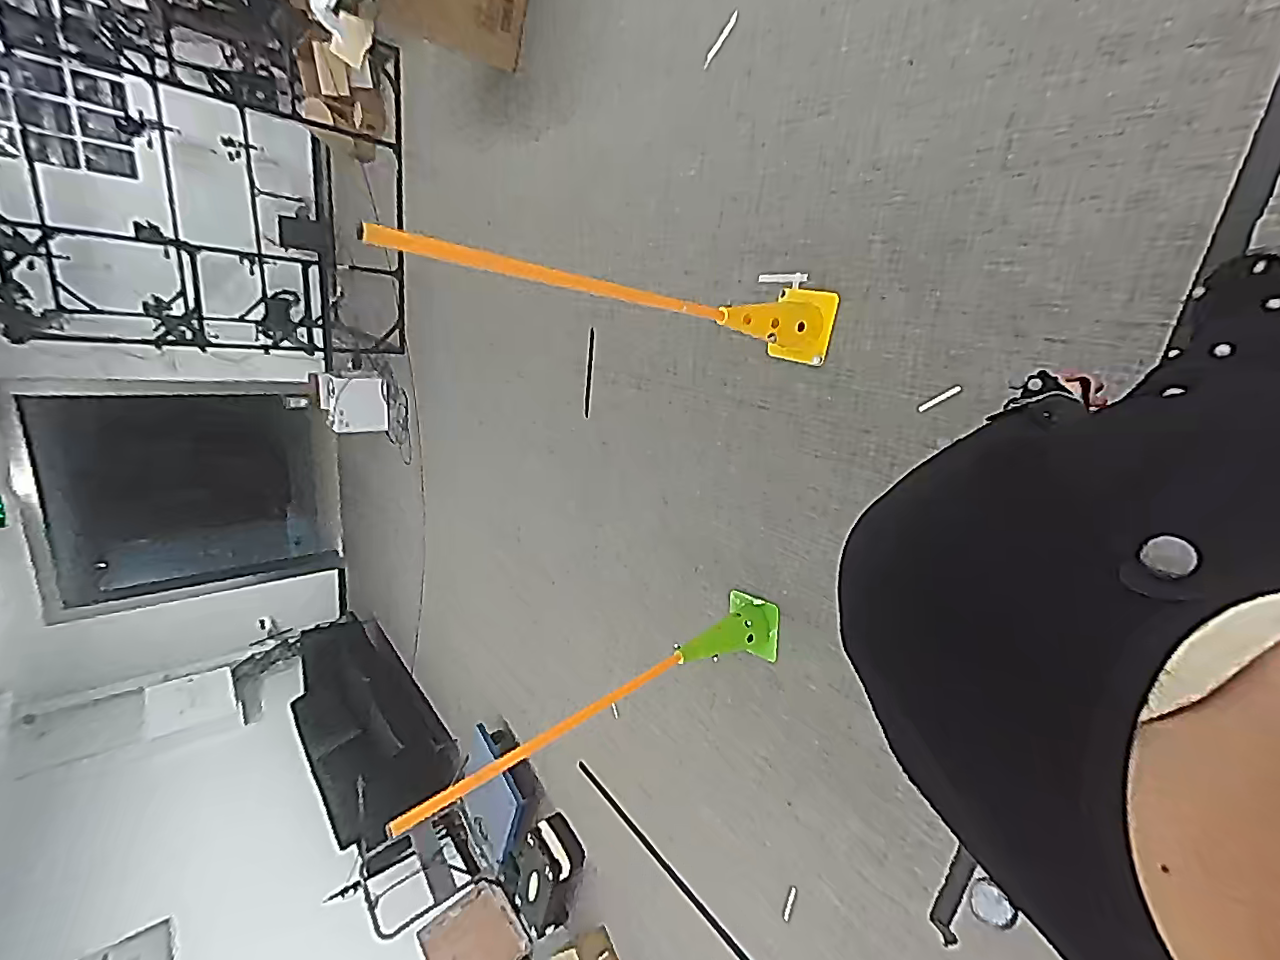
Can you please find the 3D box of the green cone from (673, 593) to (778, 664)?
[{"bbox_3d":[0.248,0.508,1.704,0.200,0.368,0.202,11,102,48],"label":"green cone"}]
